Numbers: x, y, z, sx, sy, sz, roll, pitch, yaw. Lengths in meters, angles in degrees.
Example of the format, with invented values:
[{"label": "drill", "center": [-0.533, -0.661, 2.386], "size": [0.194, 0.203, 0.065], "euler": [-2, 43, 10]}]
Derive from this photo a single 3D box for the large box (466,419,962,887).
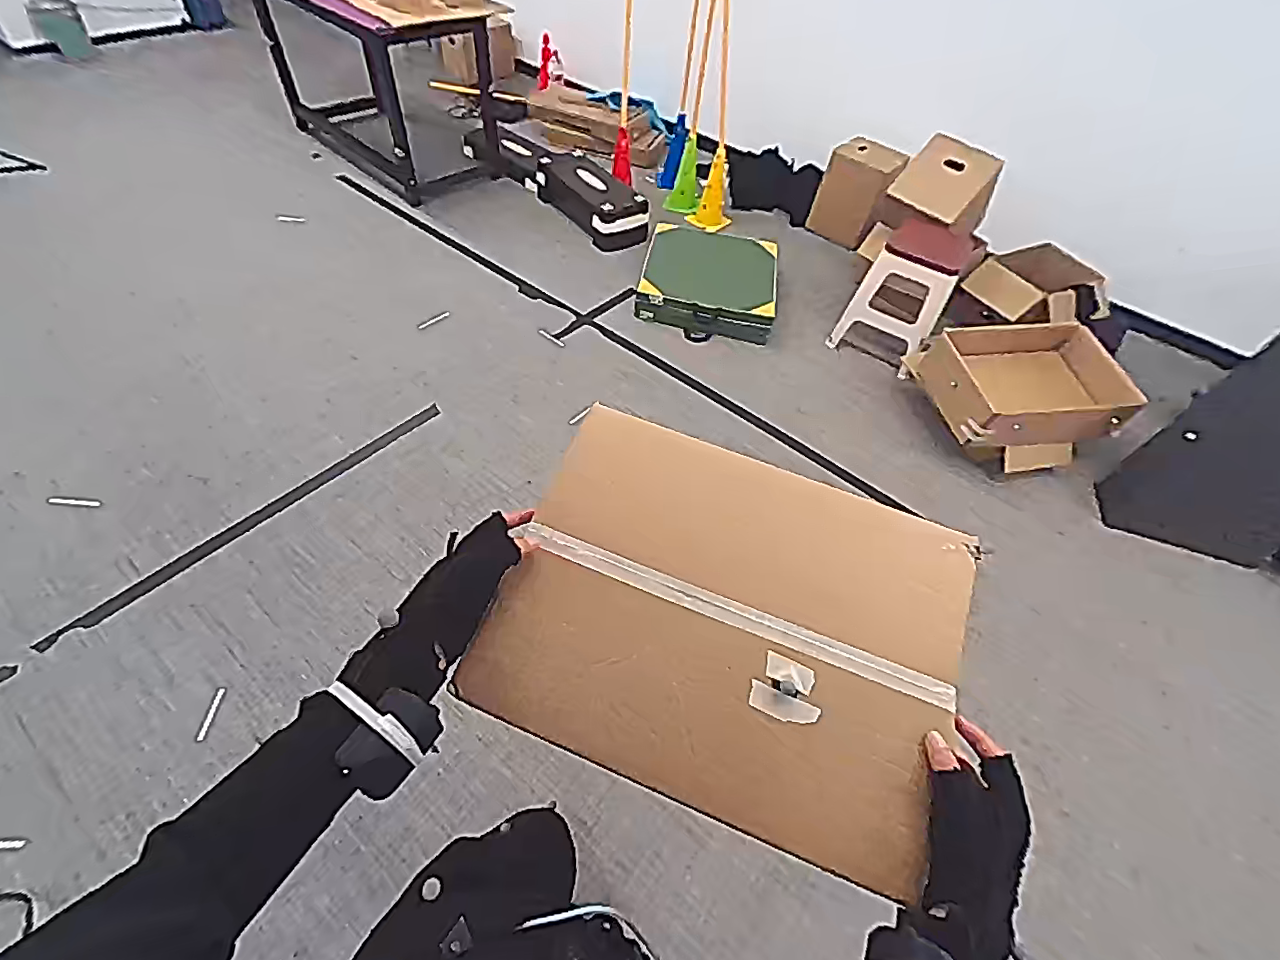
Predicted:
[{"label": "large box", "center": [0.078, 0.186, 0.640], "size": [0.408, 0.320, 0.320], "euler": [21, 68, 8]}]
